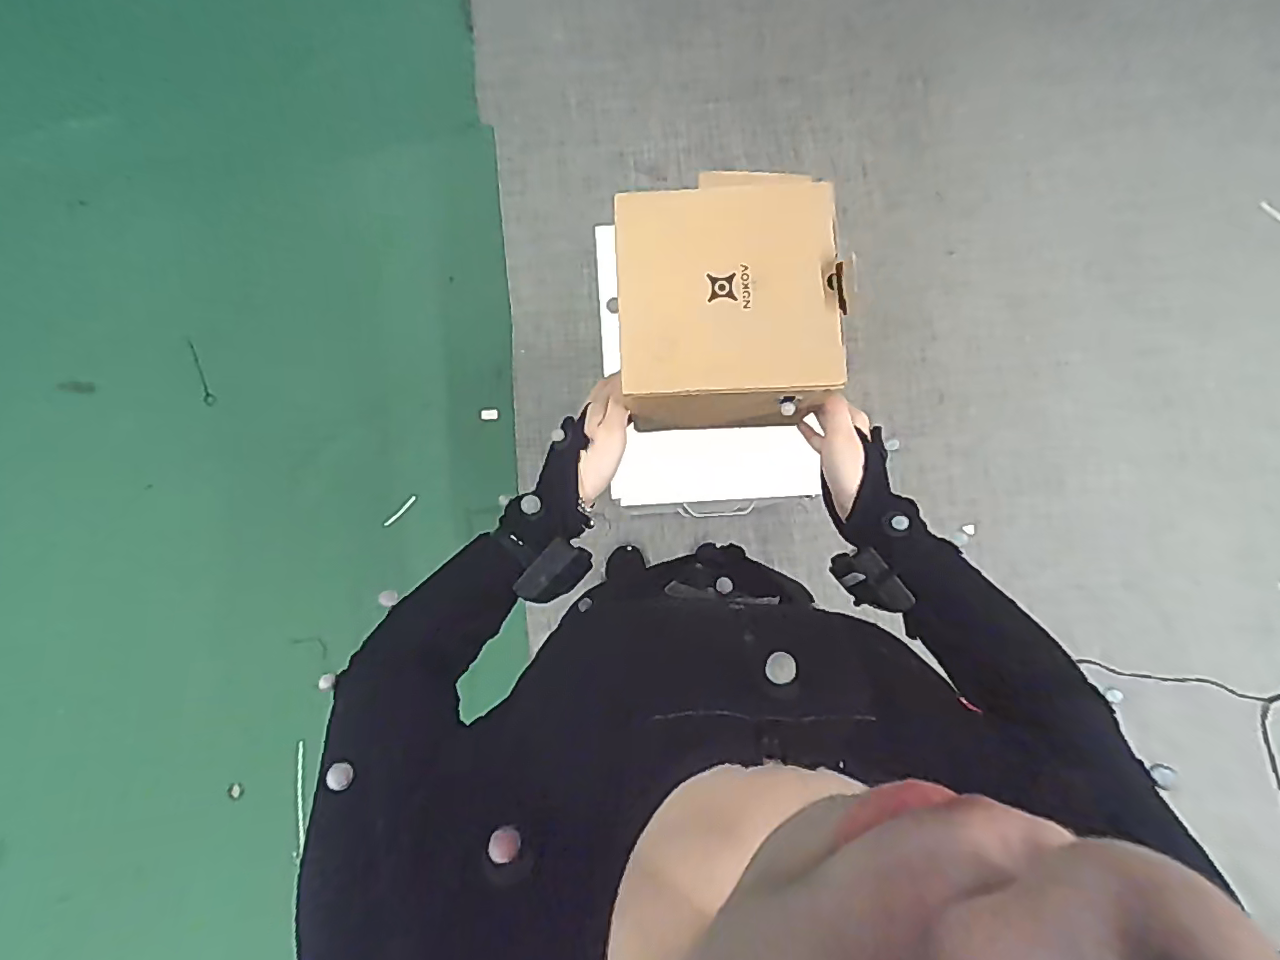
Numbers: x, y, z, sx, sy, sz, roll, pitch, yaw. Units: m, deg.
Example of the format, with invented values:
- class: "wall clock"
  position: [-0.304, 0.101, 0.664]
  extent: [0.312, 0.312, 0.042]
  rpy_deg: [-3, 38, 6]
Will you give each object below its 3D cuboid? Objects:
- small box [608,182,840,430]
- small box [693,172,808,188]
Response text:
- class: "small box"
  position: [0.067, -0.144, 0.503]
  extent: [0.179, 0.176, 0.168]
  rpy_deg: [-3, 84, 1]
- class: "small box"
  position: [0.168, -0.378, 0.897]
  extent: [0.179, 0.176, 0.168]
  rpy_deg: [3, 84, 2]
